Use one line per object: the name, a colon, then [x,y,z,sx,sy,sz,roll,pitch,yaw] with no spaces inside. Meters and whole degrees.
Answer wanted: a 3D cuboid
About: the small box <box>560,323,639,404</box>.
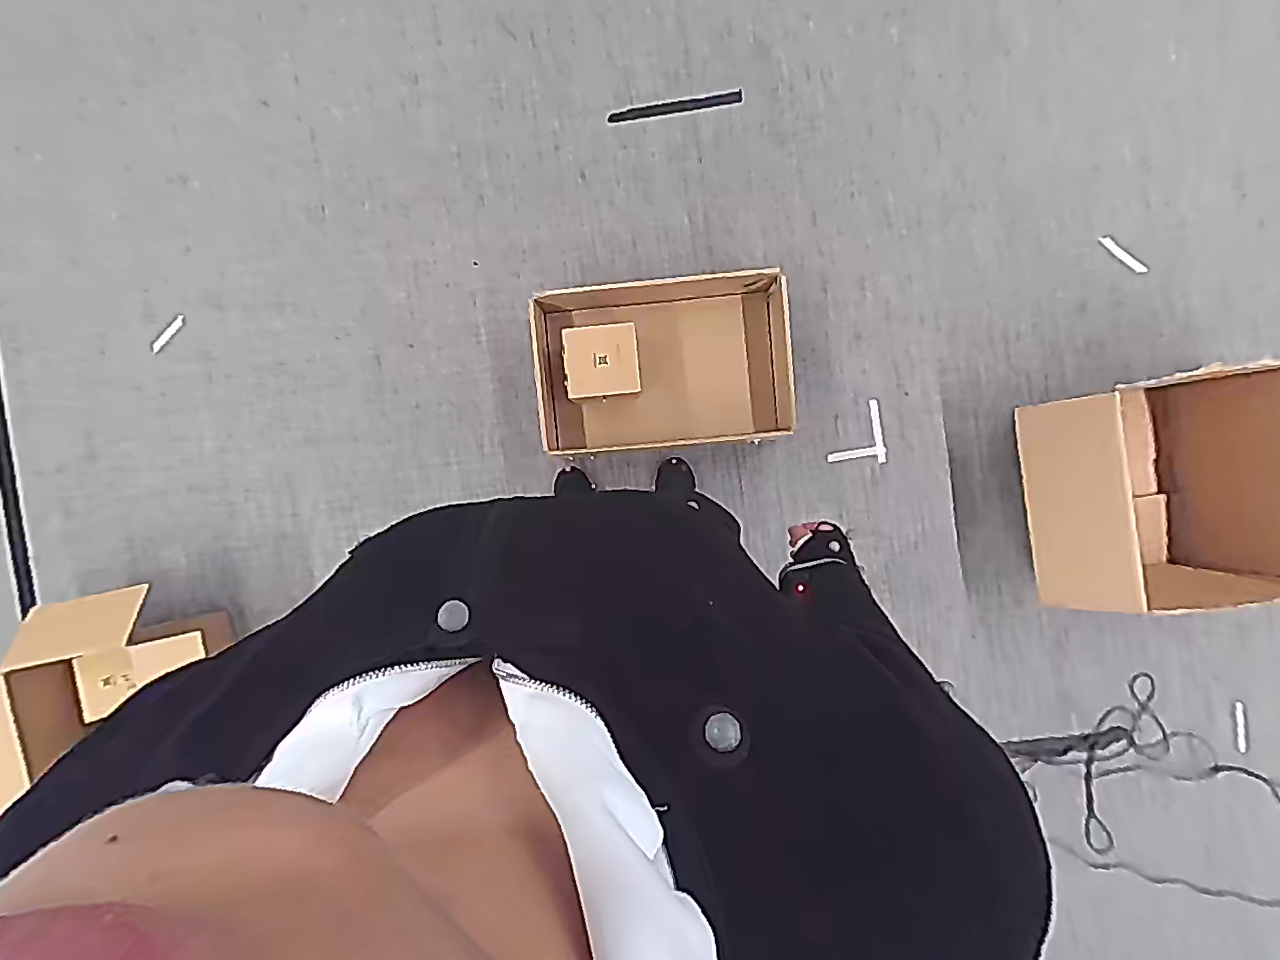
small box: [-0.096,-0.285,1.355,0.179,0.176,0.168,-6,94,0]
